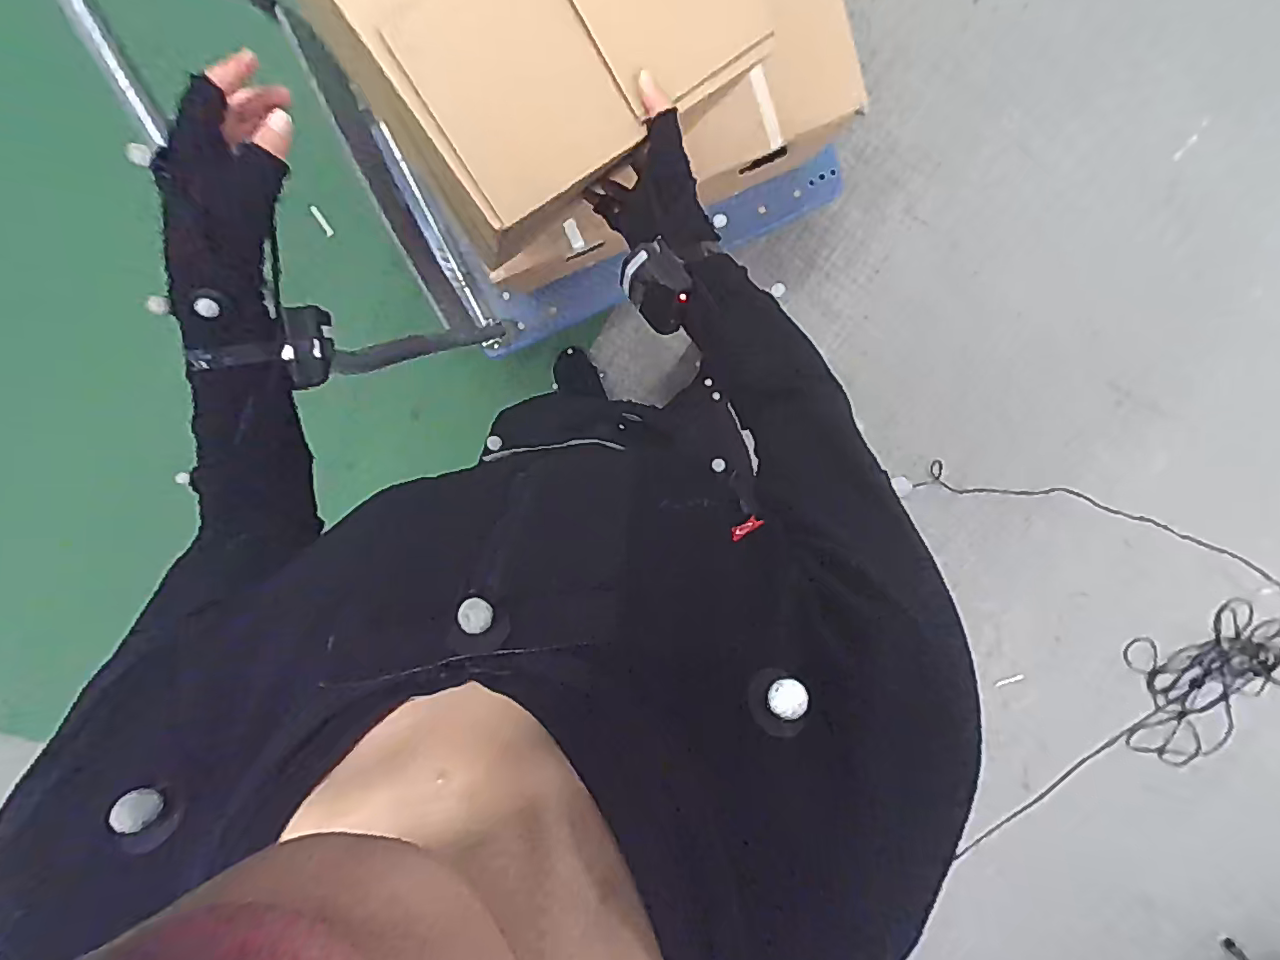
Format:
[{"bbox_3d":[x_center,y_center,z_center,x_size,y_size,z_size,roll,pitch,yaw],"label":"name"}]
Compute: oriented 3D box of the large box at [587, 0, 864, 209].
[{"bbox_3d":[0.123,-0.757,0.934,0.320,0.320,0.408,-22,107,4],"label":"large box"}]
